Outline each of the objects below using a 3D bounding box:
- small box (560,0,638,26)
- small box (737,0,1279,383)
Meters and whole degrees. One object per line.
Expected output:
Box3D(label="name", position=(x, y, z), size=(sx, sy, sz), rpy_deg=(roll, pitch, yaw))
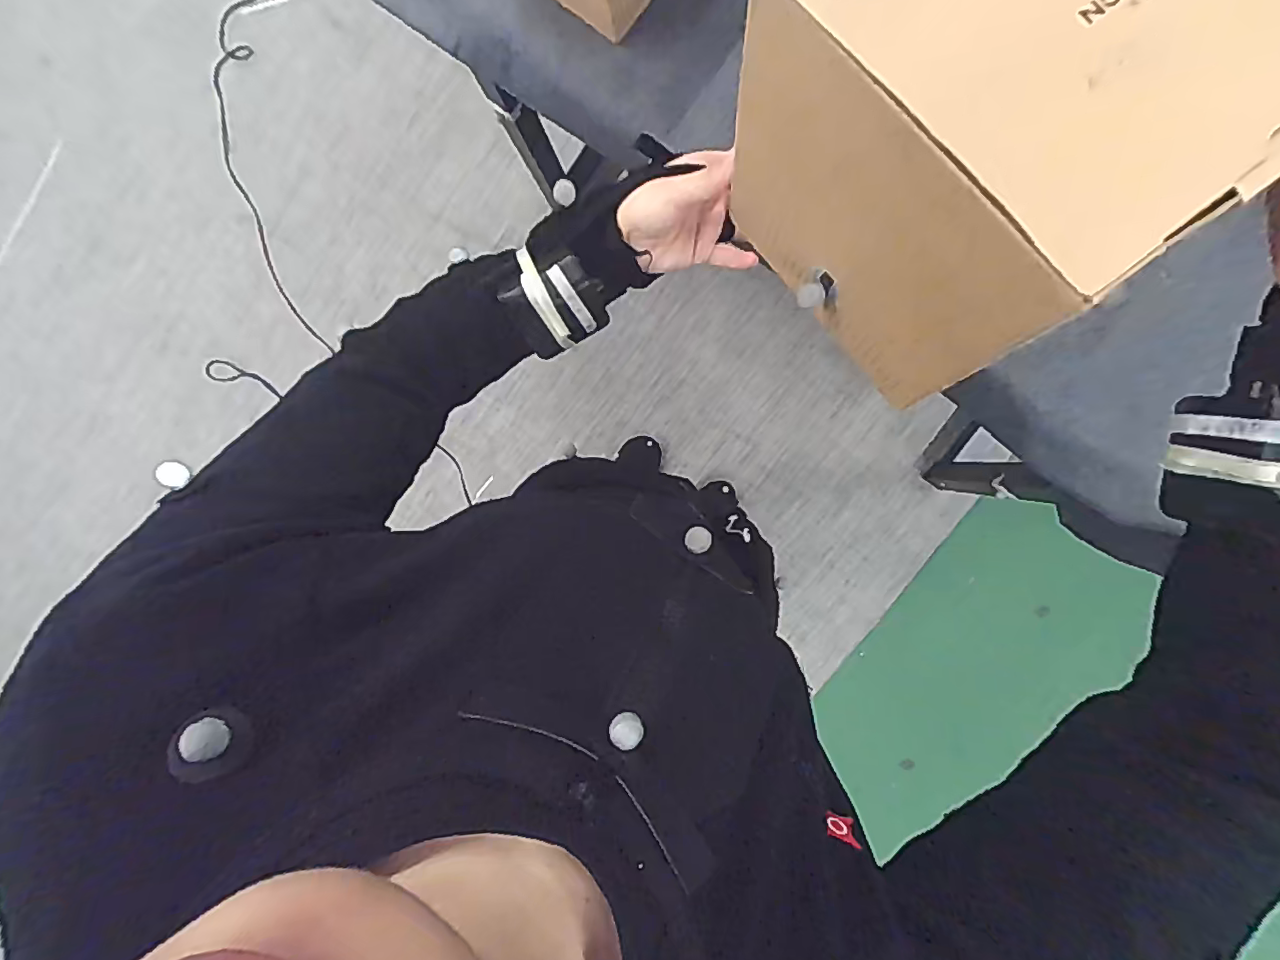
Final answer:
Box3D(label="small box", position=(-0.050, -0.611, 0.532), size=(0.179, 0.176, 0.168), rpy_deg=(39, 93, 2))
Box3D(label="small box", position=(0.167, -0.167, 0.268), size=(0.168, 0.176, 0.179), rpy_deg=(-39, 84, 2))
